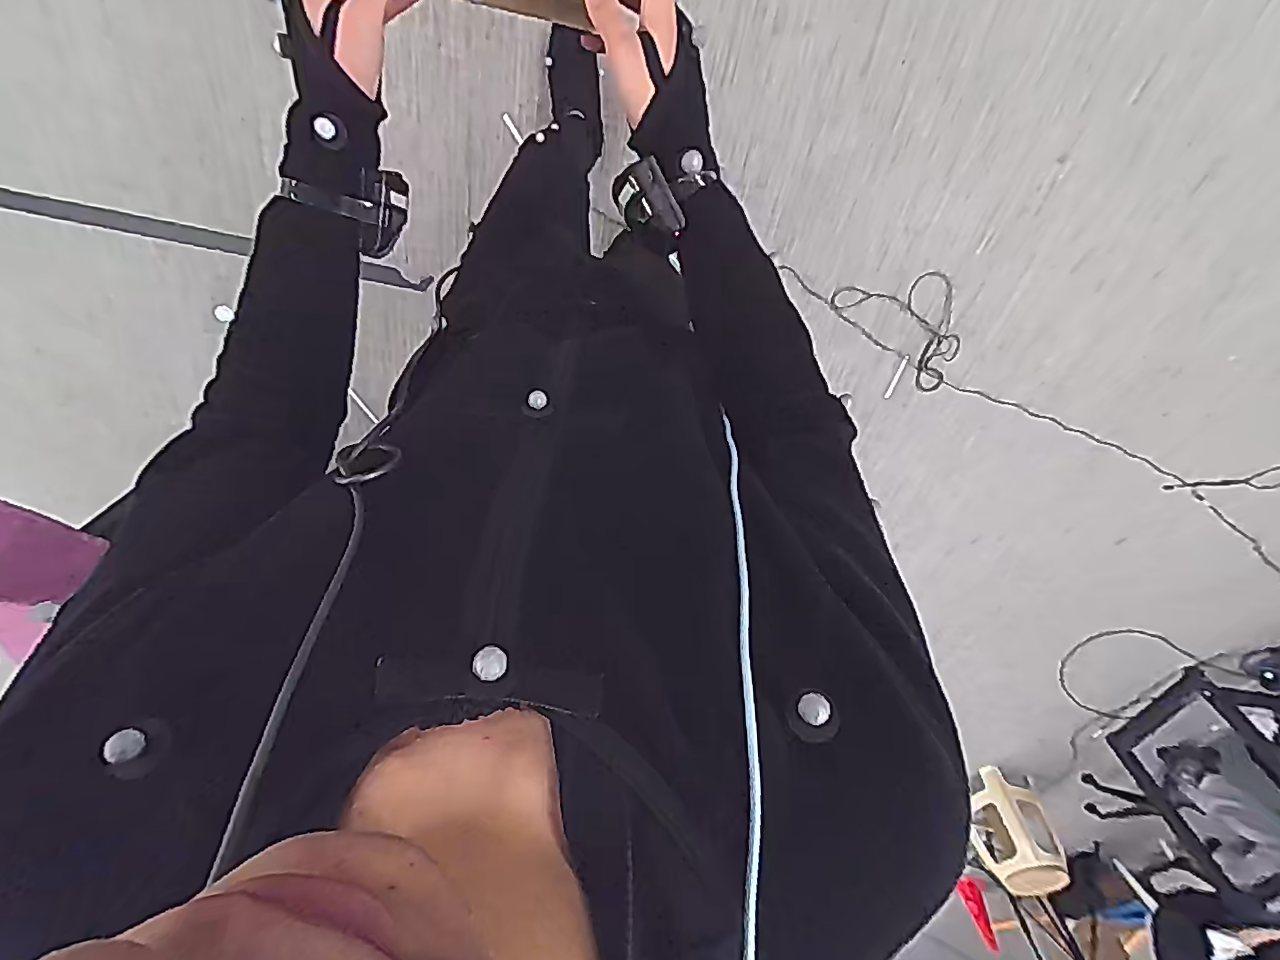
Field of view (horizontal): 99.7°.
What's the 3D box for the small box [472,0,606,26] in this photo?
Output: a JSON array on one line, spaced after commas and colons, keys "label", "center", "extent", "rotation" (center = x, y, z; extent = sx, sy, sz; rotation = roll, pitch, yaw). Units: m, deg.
[{"label": "small box", "center": [-0.099, -0.460, 0.392], "extent": [0.179, 0.176, 0.168], "rotation": [5, 123, -11]}]
